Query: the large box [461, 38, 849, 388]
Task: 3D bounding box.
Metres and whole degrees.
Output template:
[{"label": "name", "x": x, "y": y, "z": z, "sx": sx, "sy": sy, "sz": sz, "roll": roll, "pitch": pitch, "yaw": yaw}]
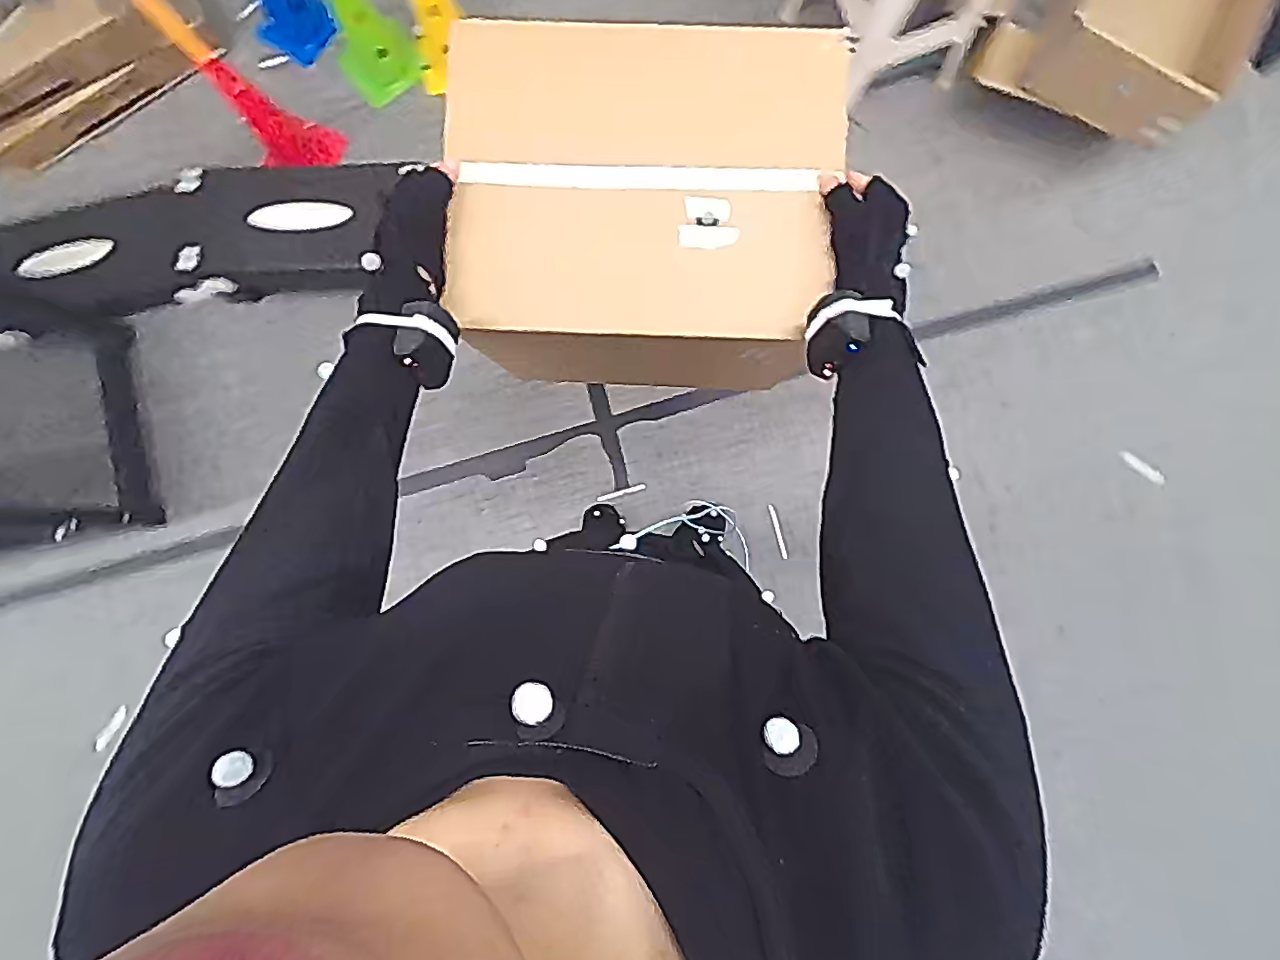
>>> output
[{"label": "large box", "x": 0.015, "y": -0.304, "z": 0.711, "sx": 0.408, "sy": 0.320, "sz": 0.320, "roll": 3, "pitch": 90, "yaw": 1}]
